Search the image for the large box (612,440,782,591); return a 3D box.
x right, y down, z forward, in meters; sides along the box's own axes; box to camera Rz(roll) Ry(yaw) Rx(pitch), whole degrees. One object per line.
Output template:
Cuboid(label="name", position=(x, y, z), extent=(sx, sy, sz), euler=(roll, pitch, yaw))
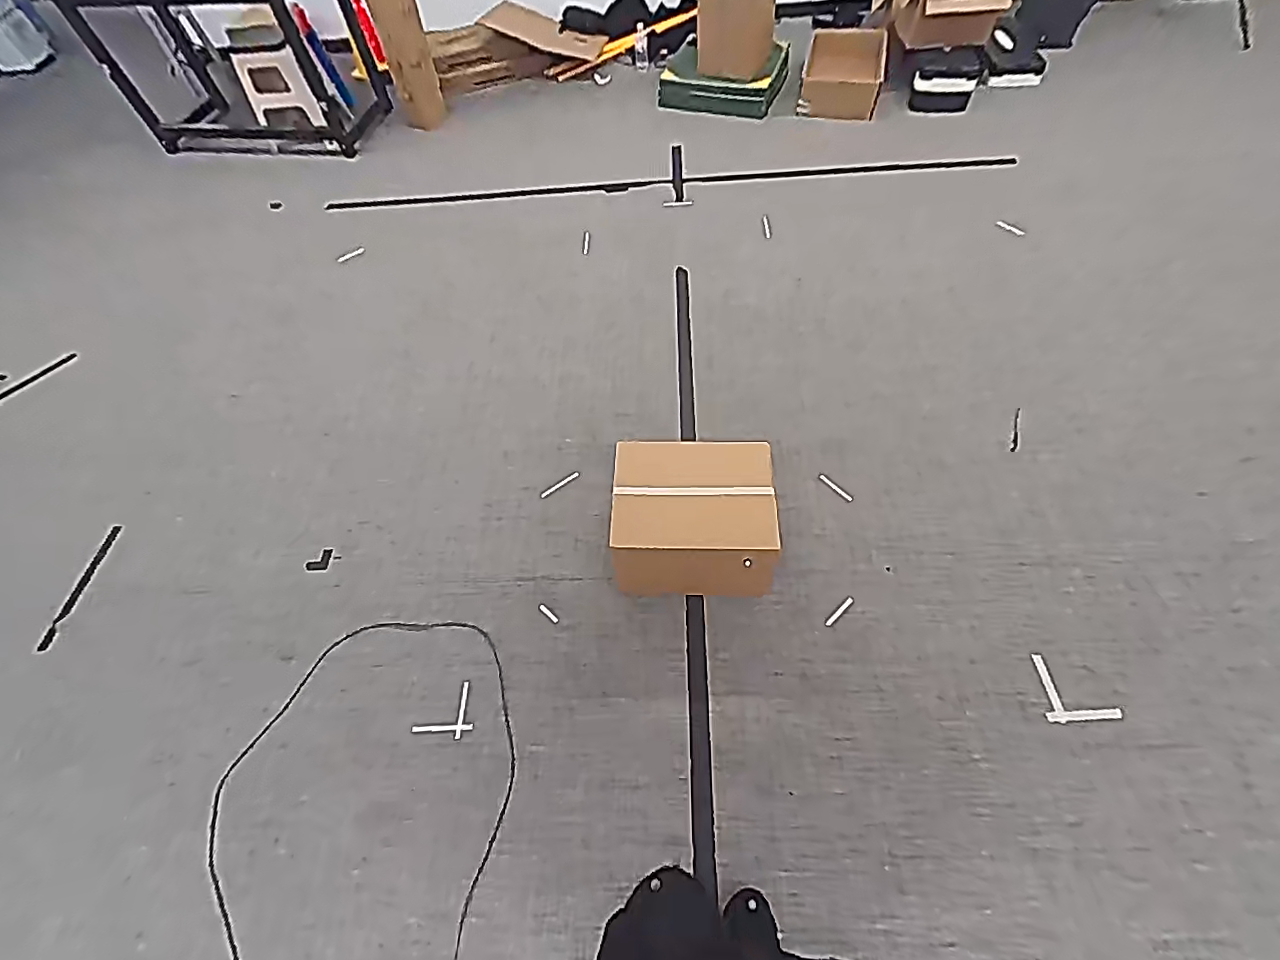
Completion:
Cuboid(label="large box", position=(0.144, 0.106, 1.470), extent=(0.408, 0.320, 0.320), euler=(0, 58, 3))
